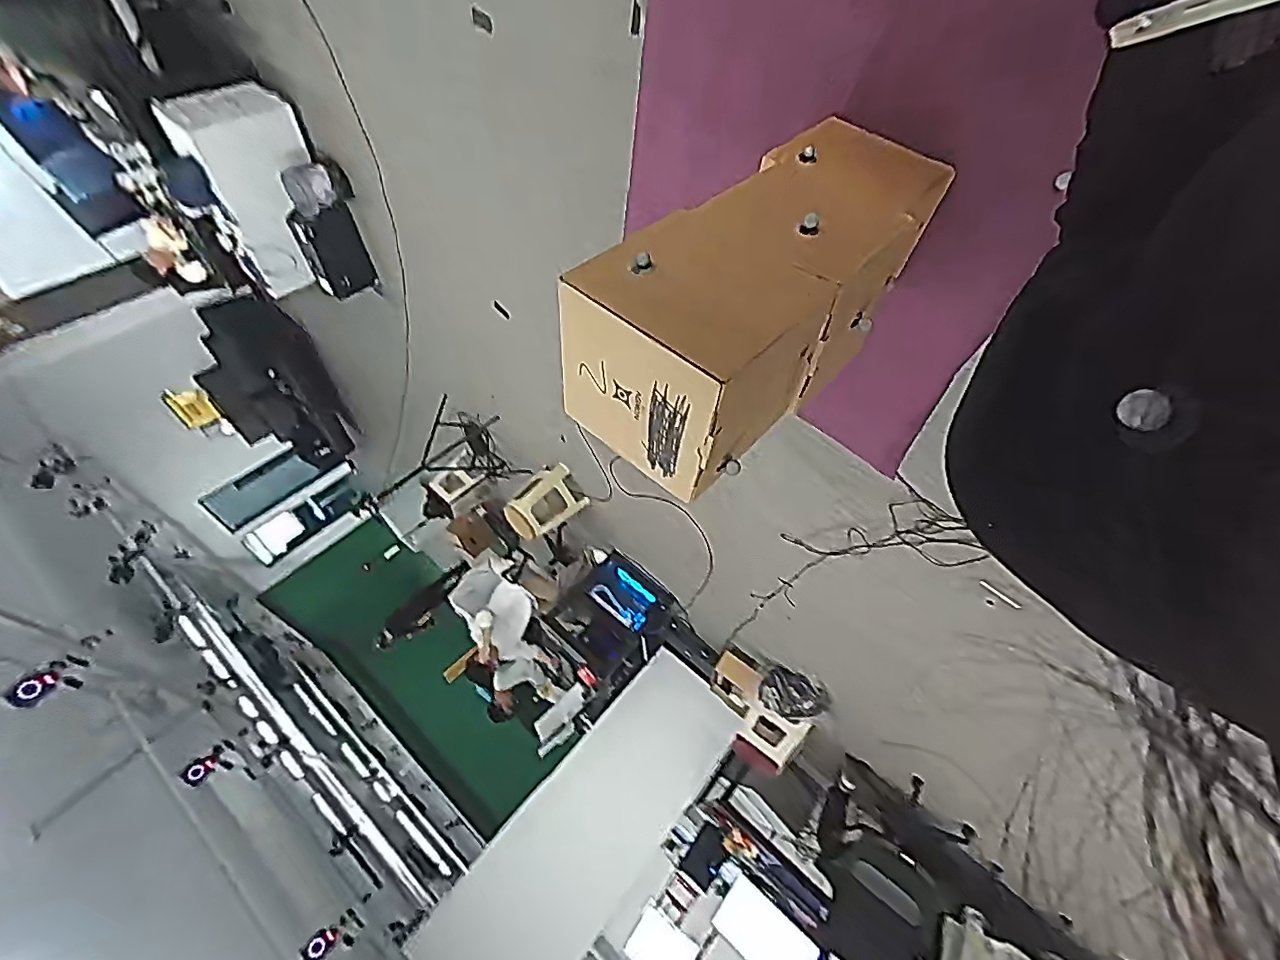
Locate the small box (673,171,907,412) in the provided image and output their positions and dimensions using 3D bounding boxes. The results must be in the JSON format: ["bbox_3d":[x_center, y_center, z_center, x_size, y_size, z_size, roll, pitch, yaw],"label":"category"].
[{"bbox_3d":[0.160,-0.214,0.601,0.179,0.176,0.168,34,149,22],"label":"small box"}]

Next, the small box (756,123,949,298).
[{"bbox_3d":[0.250,-0.321,0.689,0.179,0.176,0.168,38,150,18],"label":"small box"}]
